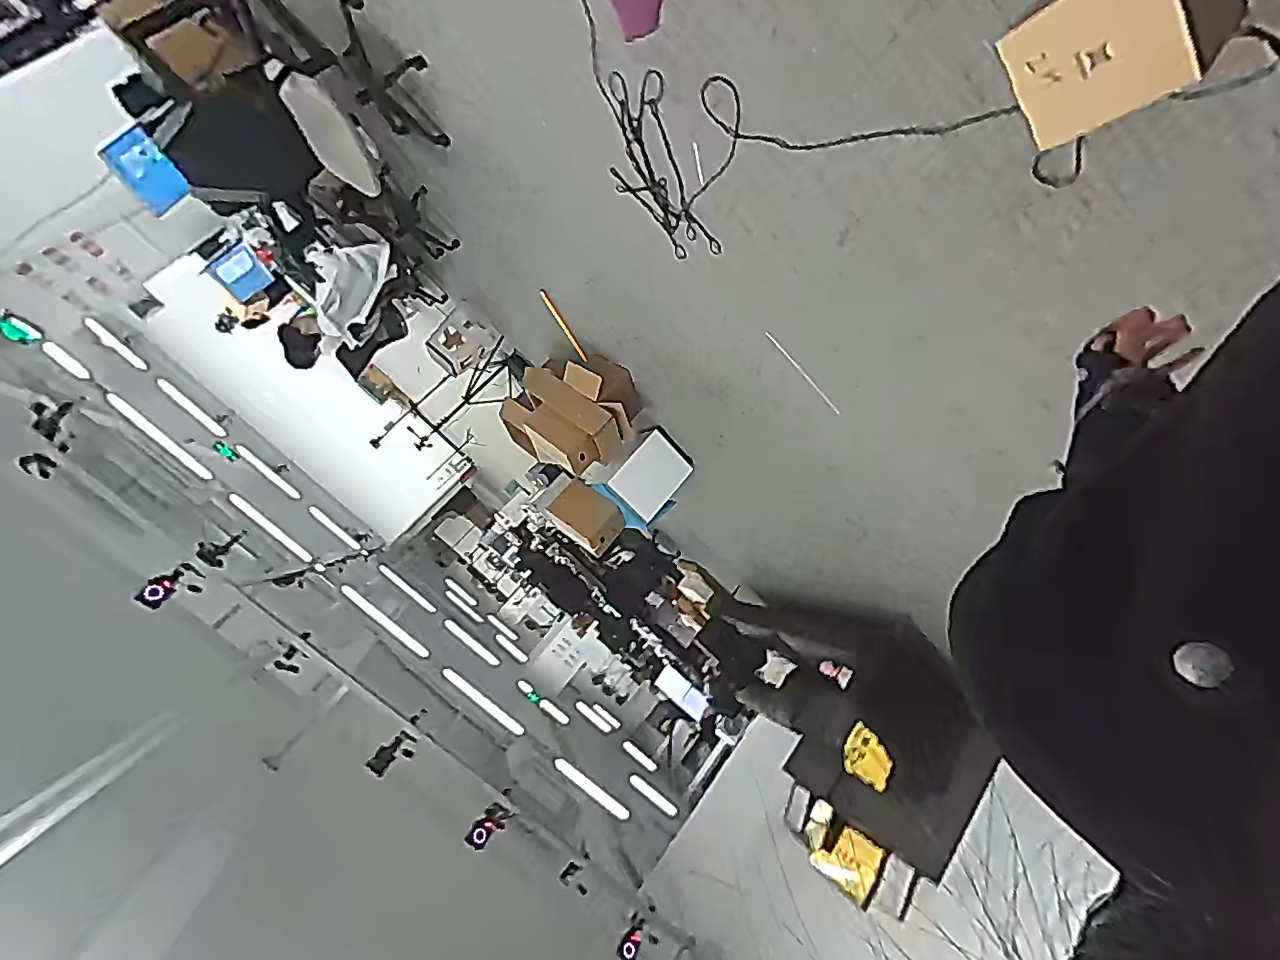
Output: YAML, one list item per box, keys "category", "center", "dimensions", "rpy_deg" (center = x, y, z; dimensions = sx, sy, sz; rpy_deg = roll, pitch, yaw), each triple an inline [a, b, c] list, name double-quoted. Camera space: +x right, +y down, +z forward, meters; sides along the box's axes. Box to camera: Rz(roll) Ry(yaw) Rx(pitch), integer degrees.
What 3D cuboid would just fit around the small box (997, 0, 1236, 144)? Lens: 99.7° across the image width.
- category: "small box"
  center: [0.615, -0.593, 0.696]
  dimensions: [0.168, 0.176, 0.179]
  rpy_deg: [48, 163, -20]
